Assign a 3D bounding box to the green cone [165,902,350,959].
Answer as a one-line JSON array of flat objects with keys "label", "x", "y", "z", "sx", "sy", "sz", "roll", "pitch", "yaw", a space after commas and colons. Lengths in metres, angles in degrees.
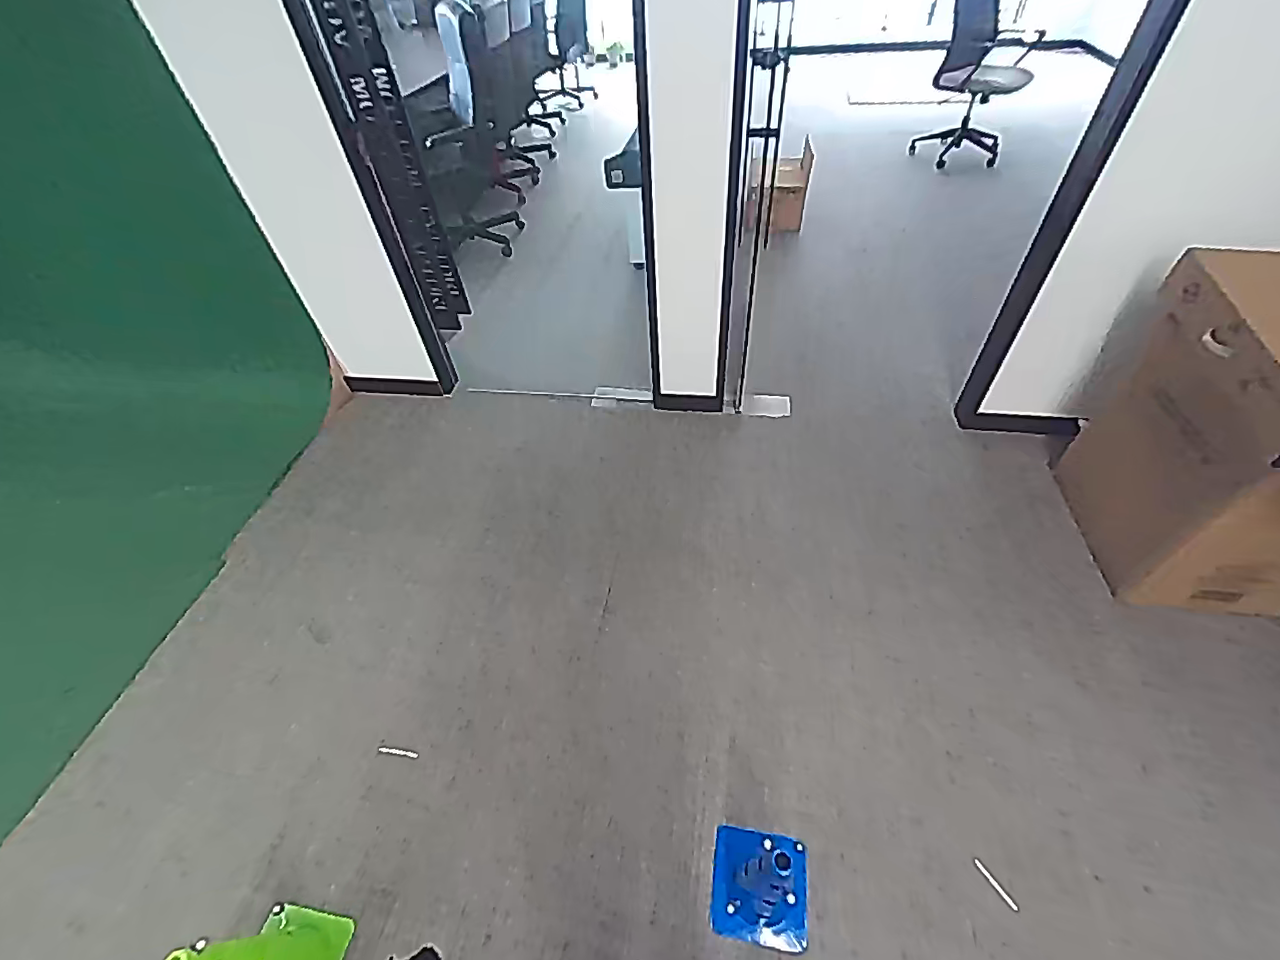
[{"label": "green cone", "x": -0.734, "y": 0.889, "z": 0.982, "sx": 0.202, "sy": 0.368, "sz": 0.200, "roll": 5, "pitch": 48, "yaw": 8}]
